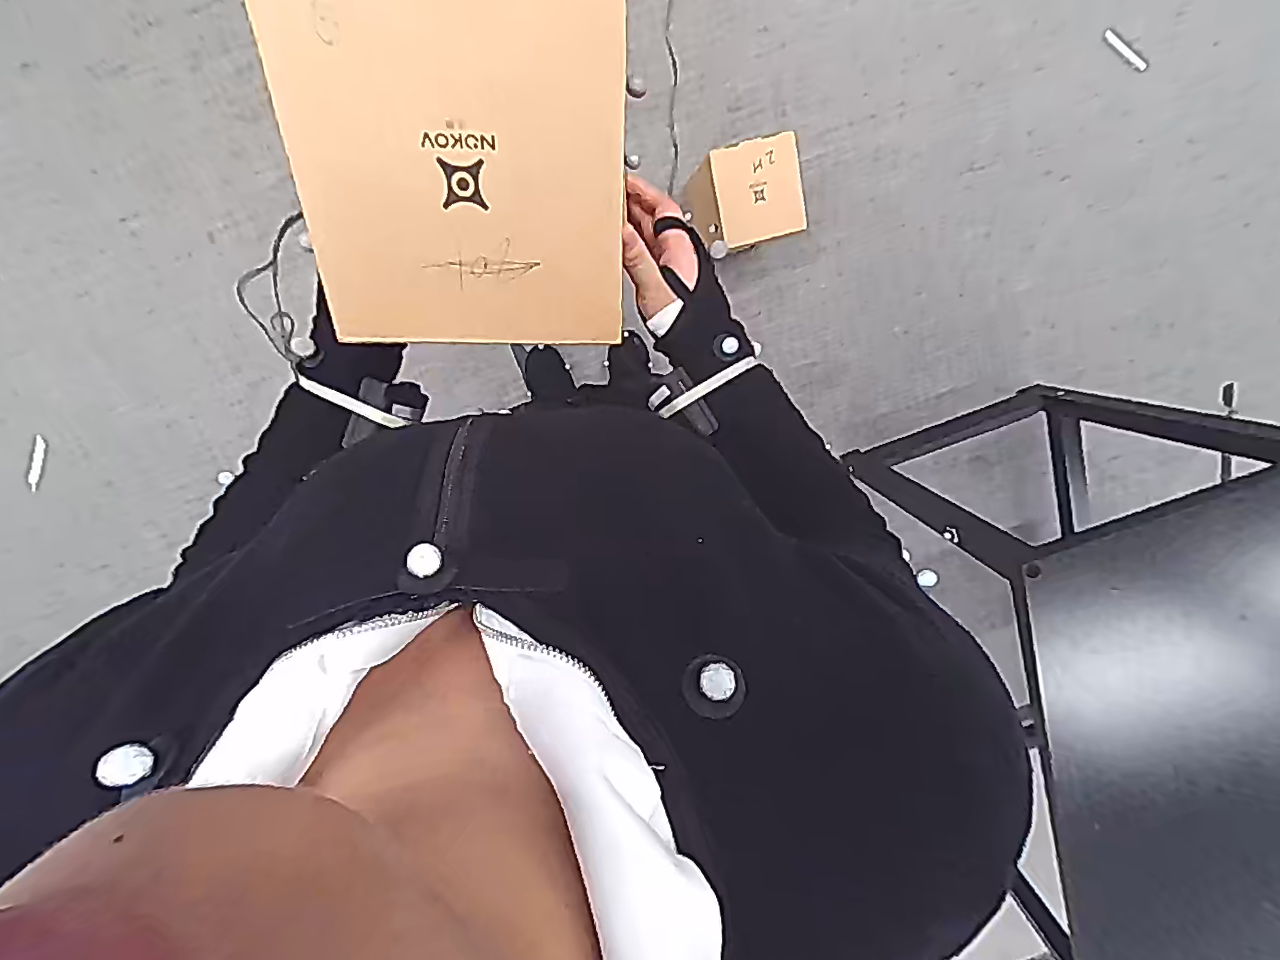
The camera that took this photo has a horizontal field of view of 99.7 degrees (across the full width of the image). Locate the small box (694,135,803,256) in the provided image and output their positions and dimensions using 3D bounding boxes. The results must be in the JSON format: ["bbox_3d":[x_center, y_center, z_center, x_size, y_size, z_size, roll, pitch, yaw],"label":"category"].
[{"bbox_3d":[0.218,-0.570,1.111,0.168,0.176,0.179,-15,106,-1],"label":"small box"}]

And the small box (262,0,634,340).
[{"bbox_3d":[-0.094,-0.201,0.343,0.168,0.176,0.179,0,123,-5],"label":"small box"}]

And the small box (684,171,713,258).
[{"bbox_3d":[0.210,-0.627,1.265,0.179,0.176,0.168,-11,107,0],"label":"small box"}]
